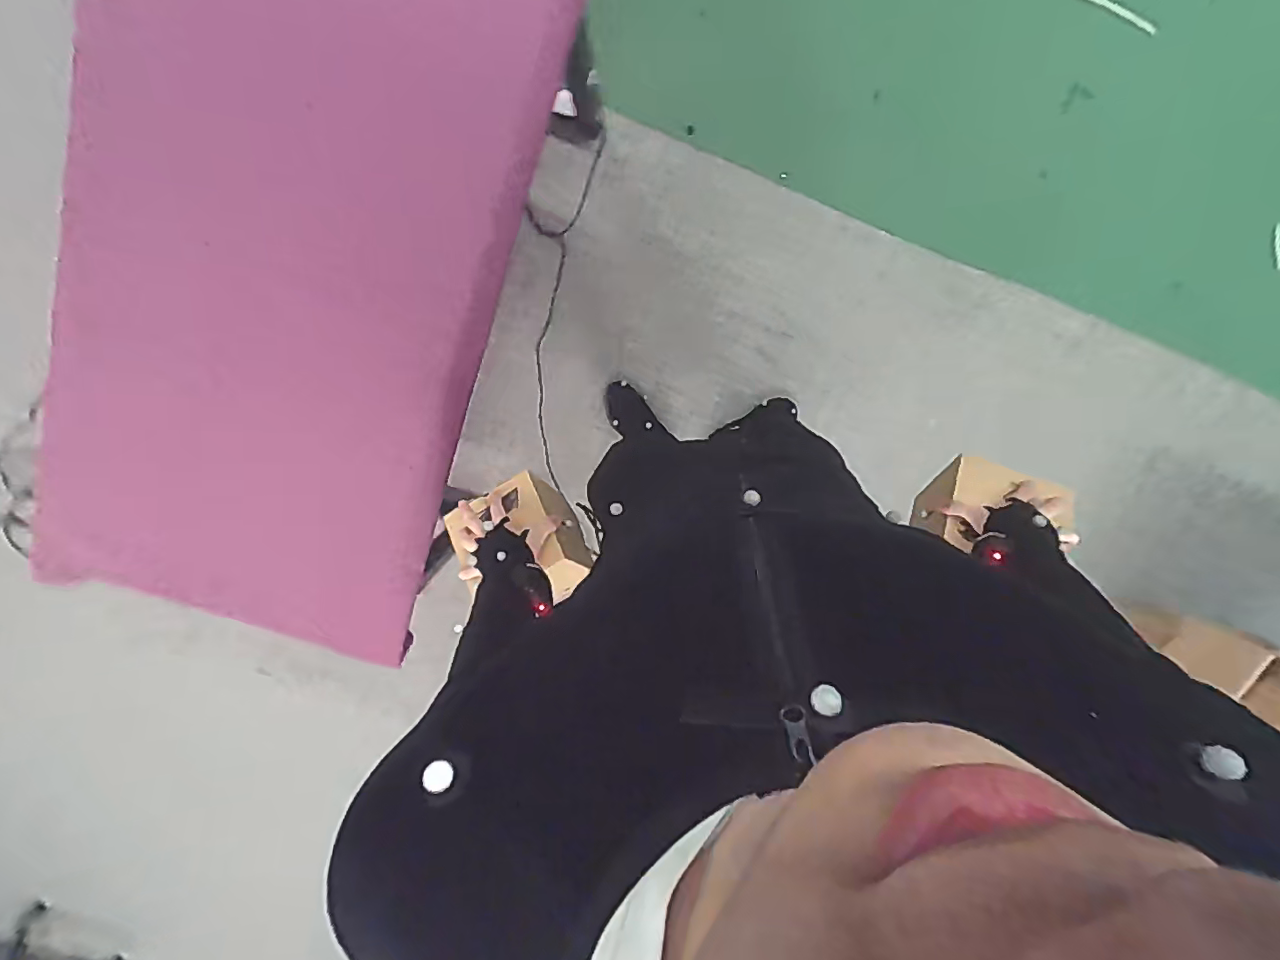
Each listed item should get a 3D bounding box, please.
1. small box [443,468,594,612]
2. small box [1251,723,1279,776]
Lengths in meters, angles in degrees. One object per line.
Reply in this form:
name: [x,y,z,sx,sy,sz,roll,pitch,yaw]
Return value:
small box: [-0.203,0.111,0.933,0.168,0.176,0.179,-30,68,3]
small box: [1.455,0.596,1.113,0.179,0.176,0.168,28,103,-7]
